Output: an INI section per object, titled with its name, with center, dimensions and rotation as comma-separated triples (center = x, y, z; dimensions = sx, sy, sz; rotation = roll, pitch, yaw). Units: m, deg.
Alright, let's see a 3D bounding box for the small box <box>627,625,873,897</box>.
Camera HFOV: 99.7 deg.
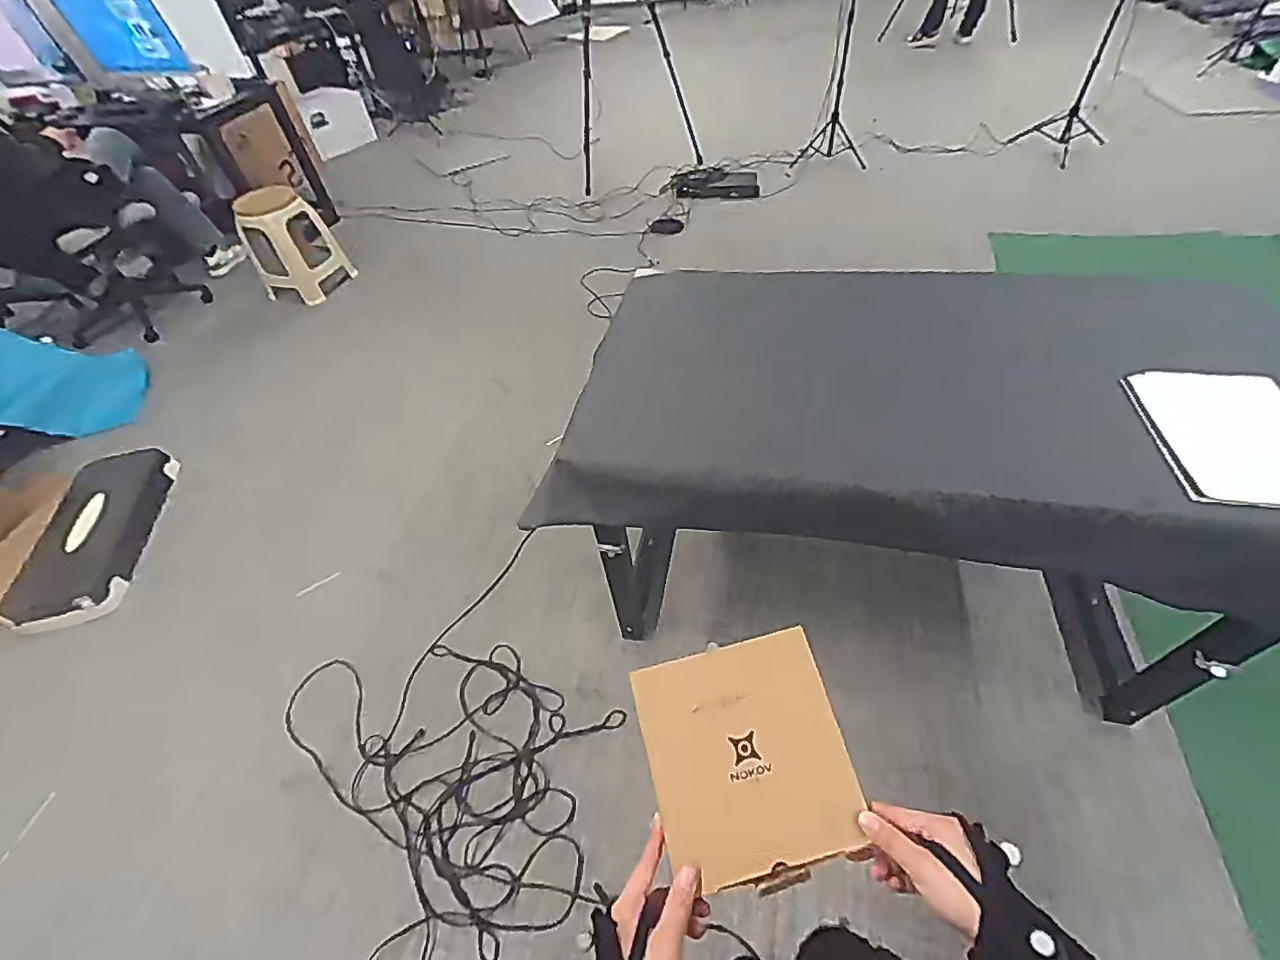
[small box]
center = 0.090, 0.257, 0.524
dimensions = 0.168, 0.176, 0.179
rotation = -14, 66, -4
